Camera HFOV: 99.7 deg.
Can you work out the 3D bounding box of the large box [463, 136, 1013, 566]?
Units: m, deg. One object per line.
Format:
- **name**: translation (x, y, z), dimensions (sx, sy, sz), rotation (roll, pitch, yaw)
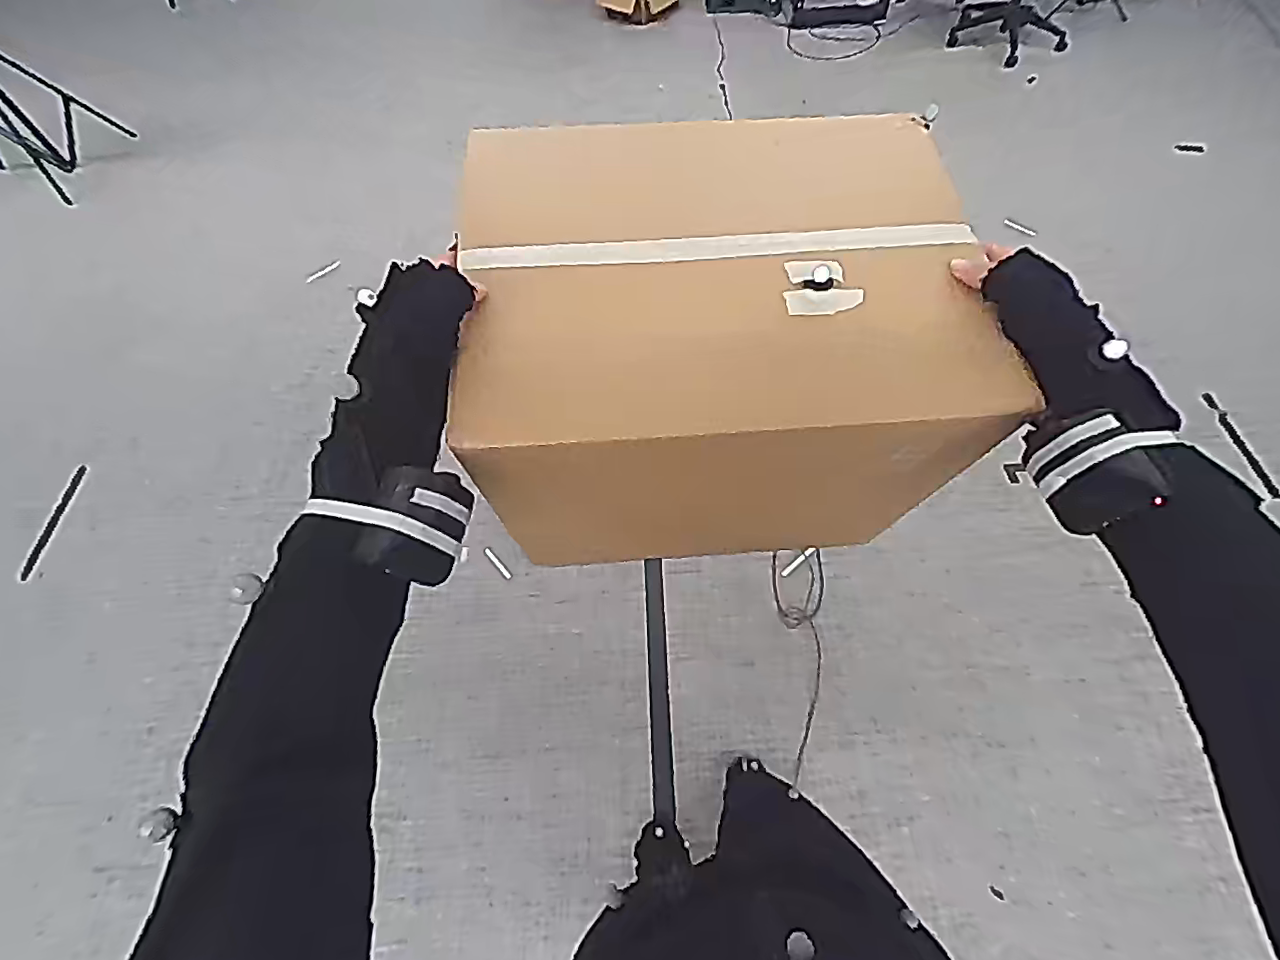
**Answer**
- **large box**: translation (0.058, -0.110, 0.575), dimensions (0.408, 0.320, 0.320), rotation (-4, 66, -2)
